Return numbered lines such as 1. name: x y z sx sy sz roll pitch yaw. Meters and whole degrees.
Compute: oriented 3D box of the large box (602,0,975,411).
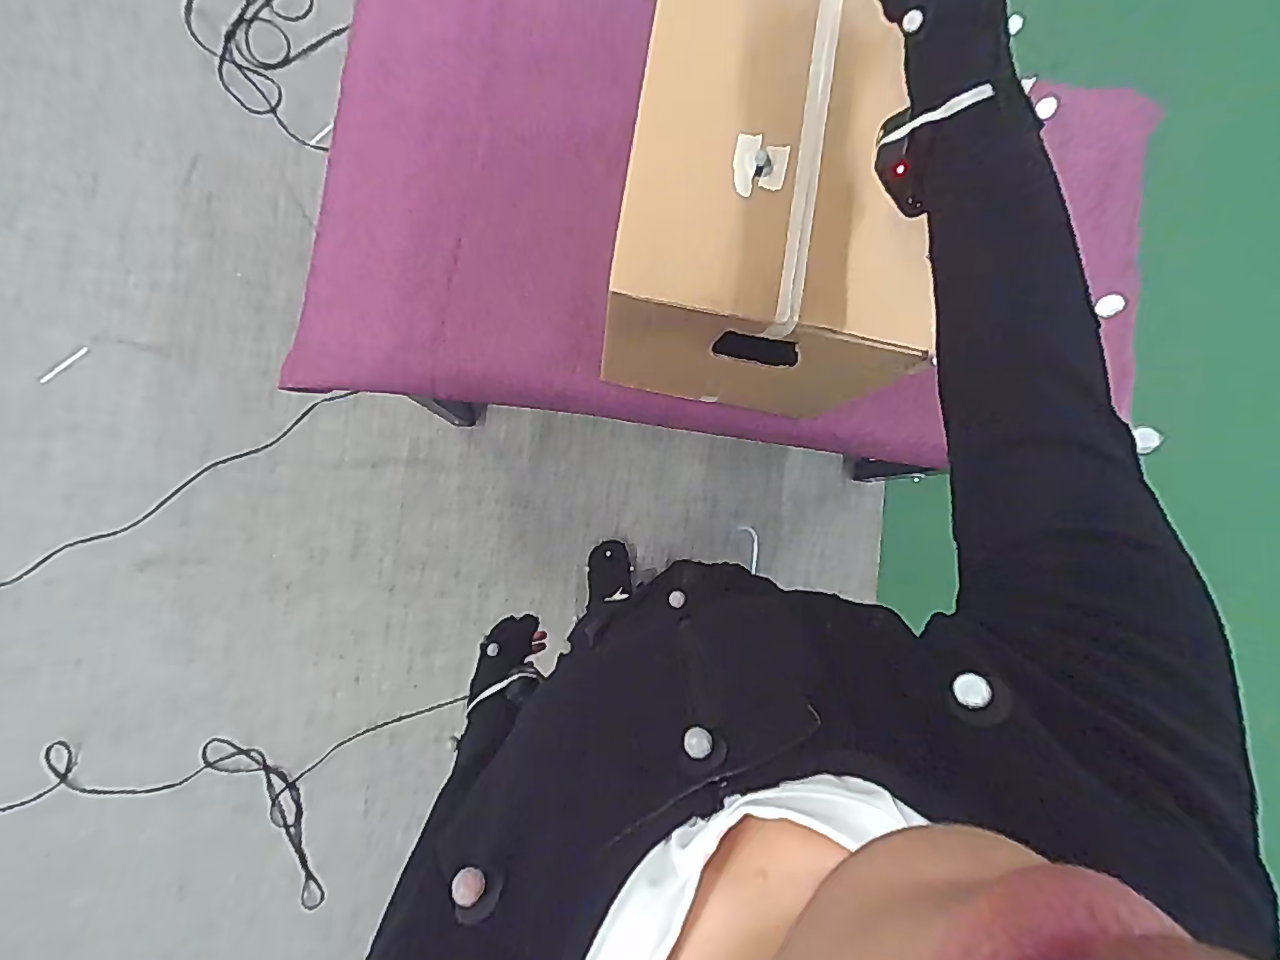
1. large box: 0.140 -0.328 0.655 0.320 0.320 0.408 10 86 -5
